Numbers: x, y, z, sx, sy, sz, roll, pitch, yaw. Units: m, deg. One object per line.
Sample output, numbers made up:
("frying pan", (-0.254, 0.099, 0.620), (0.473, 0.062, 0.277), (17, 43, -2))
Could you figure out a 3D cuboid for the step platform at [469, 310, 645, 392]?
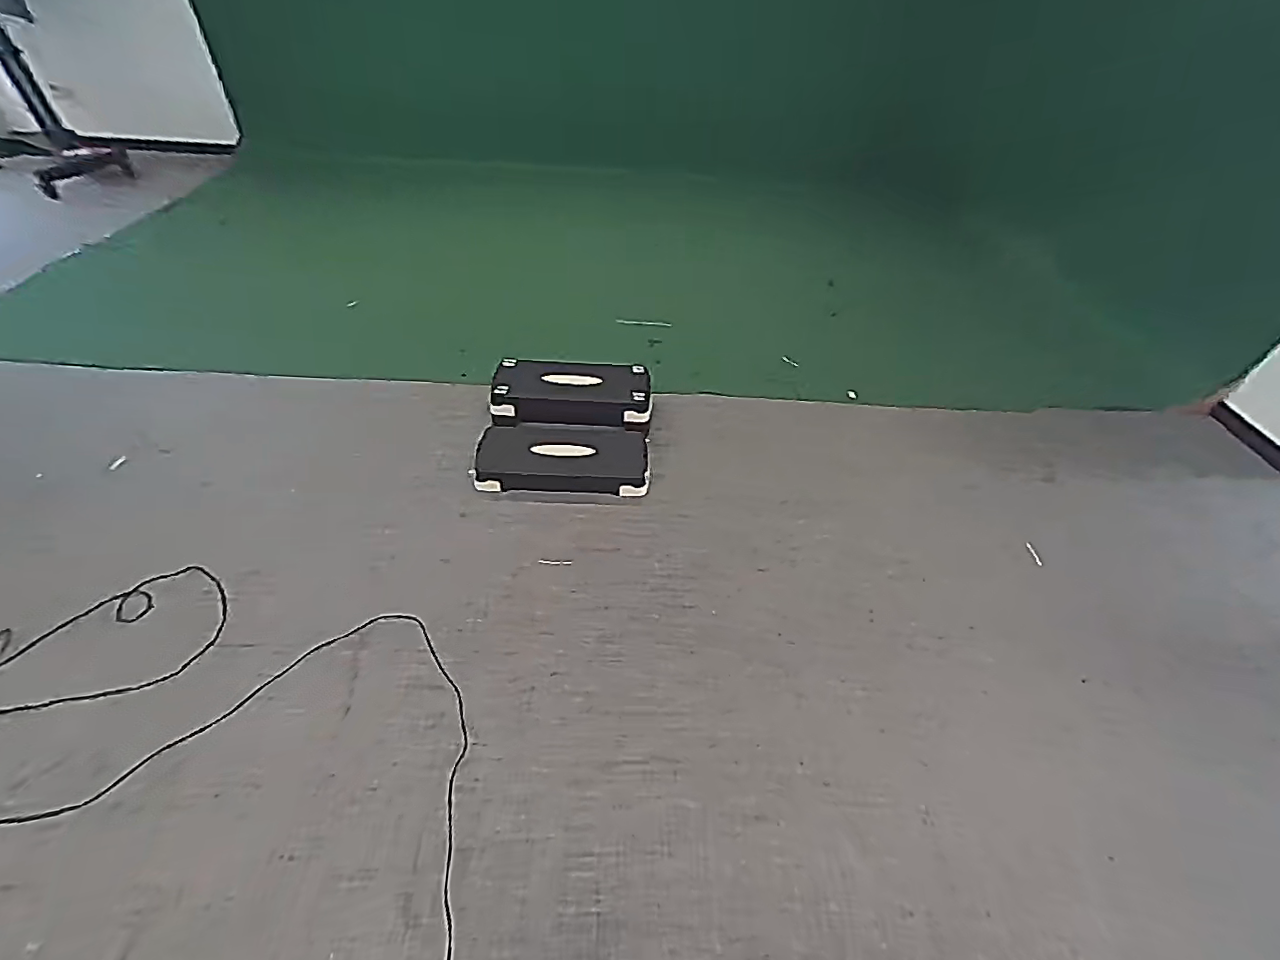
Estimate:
("step platform", (-0.325, -0.523, 2.206), (0.684, 0.204, 0.286), (2, 45, -2))
